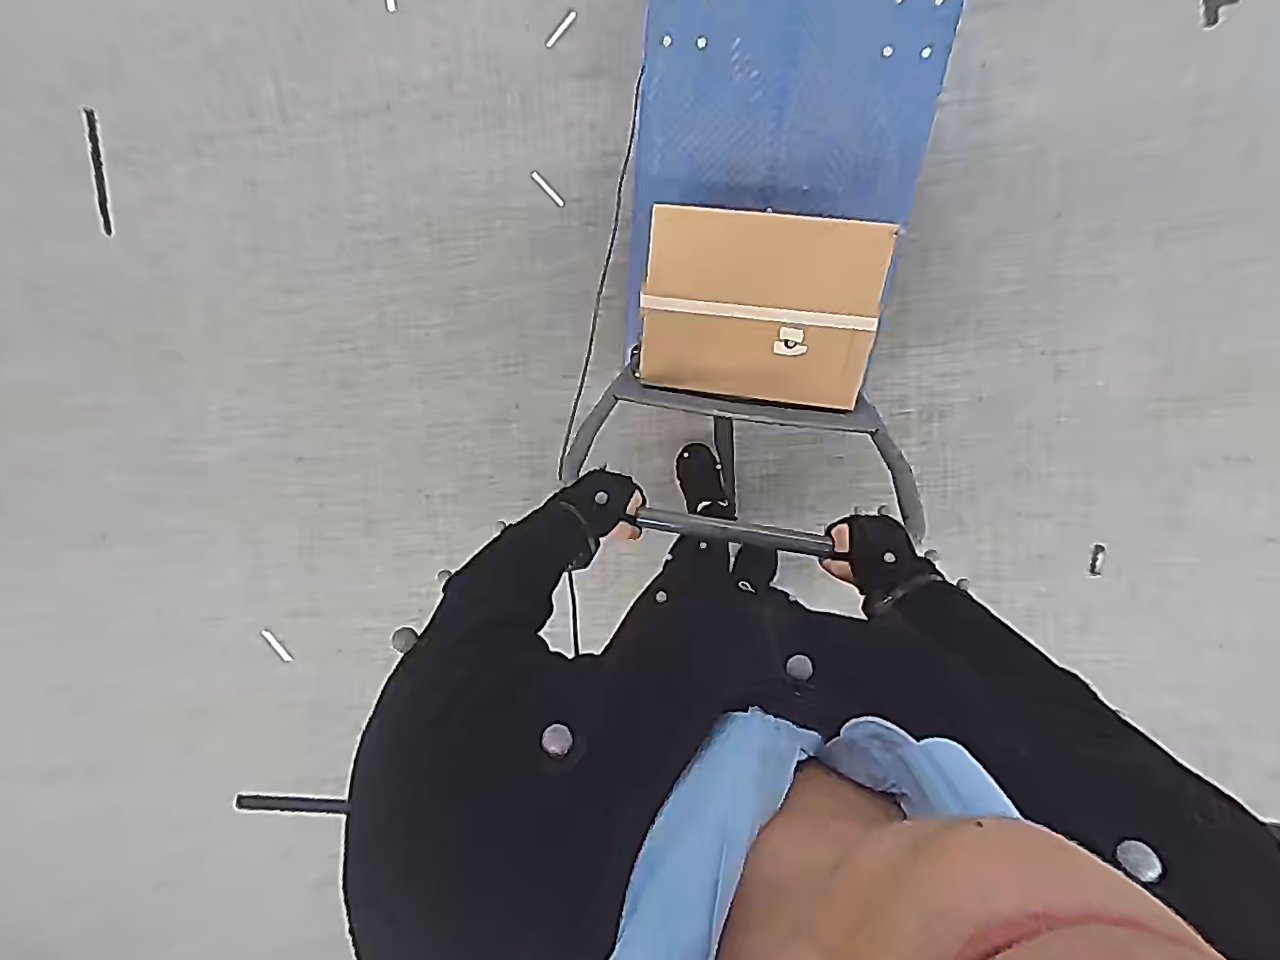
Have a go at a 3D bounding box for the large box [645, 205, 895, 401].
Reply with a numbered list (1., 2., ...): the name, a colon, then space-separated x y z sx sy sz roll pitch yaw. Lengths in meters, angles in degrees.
1. large box: 0.235 -0.366 1.104 0.408 0.320 0.320 8 115 6
